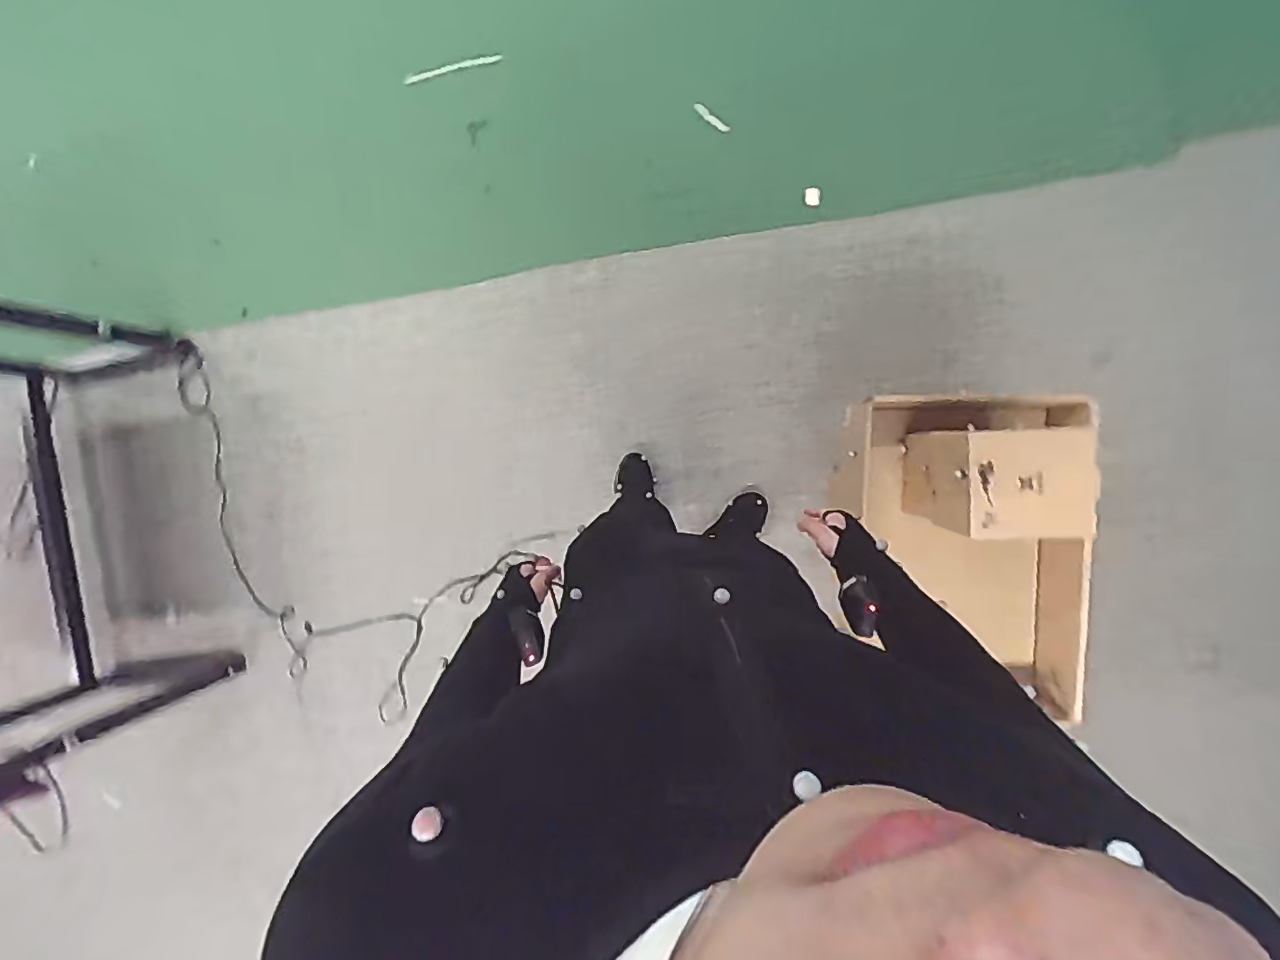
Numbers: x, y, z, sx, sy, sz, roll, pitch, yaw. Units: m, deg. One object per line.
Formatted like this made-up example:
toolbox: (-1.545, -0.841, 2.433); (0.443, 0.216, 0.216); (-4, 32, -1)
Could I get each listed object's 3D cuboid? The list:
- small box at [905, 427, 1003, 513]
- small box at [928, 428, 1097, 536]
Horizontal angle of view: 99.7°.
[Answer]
small box: (0.631, -0.017, 1.049); (0.179, 0.176, 0.168); (1, 94, 9)
small box: (0.599, -0.003, 0.889); (0.179, 0.176, 0.168); (-1, 93, 10)
